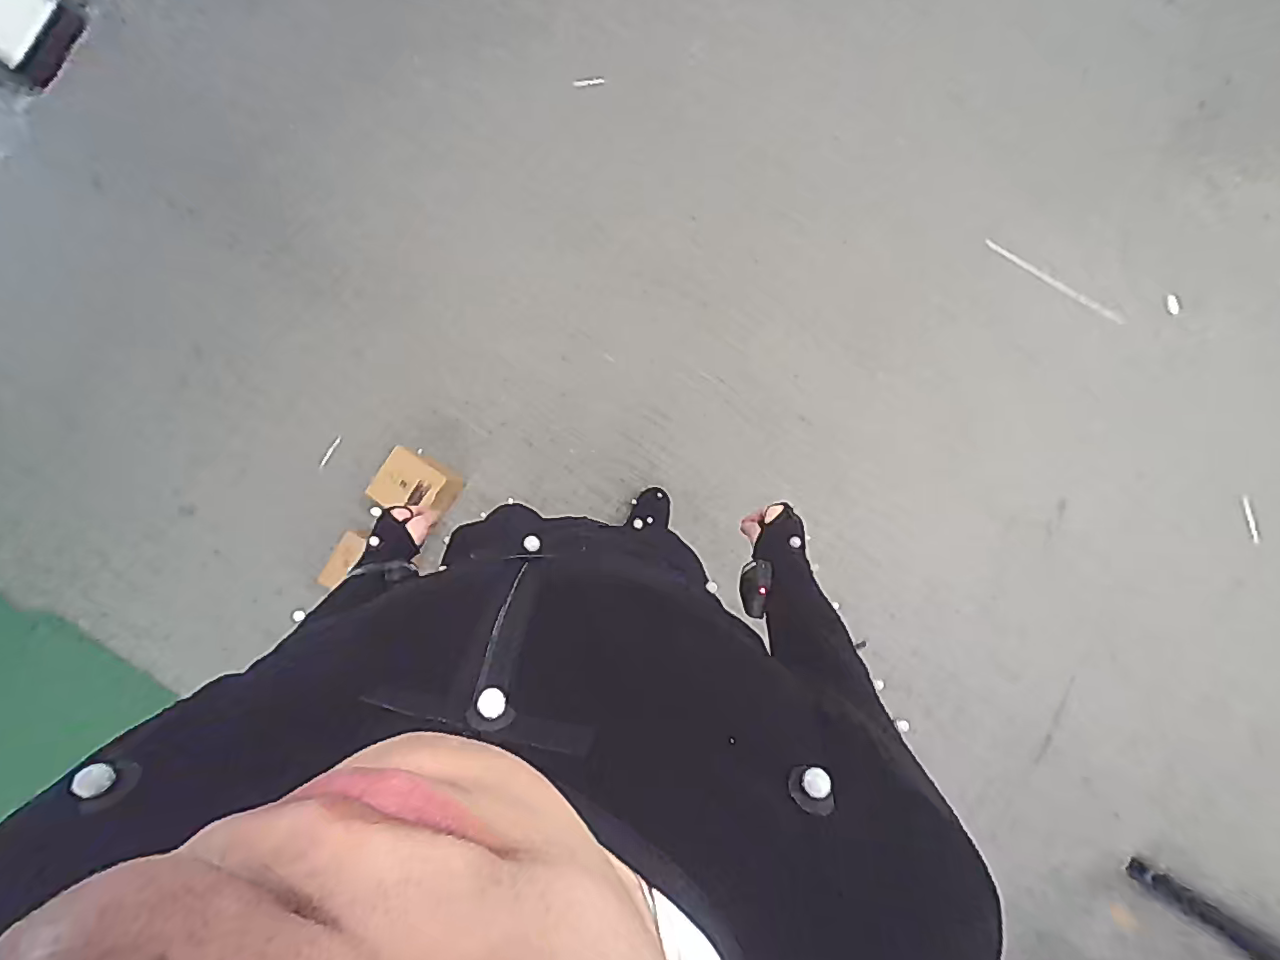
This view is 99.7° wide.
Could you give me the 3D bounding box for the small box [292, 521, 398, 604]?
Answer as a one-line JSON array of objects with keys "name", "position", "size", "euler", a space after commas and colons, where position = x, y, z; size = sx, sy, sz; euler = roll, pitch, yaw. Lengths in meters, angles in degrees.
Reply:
[{"name": "small box", "position": [-0.832, 0.225, 1.546], "size": [0.179, 0.176, 0.168], "euler": [32, 89, 1]}]
